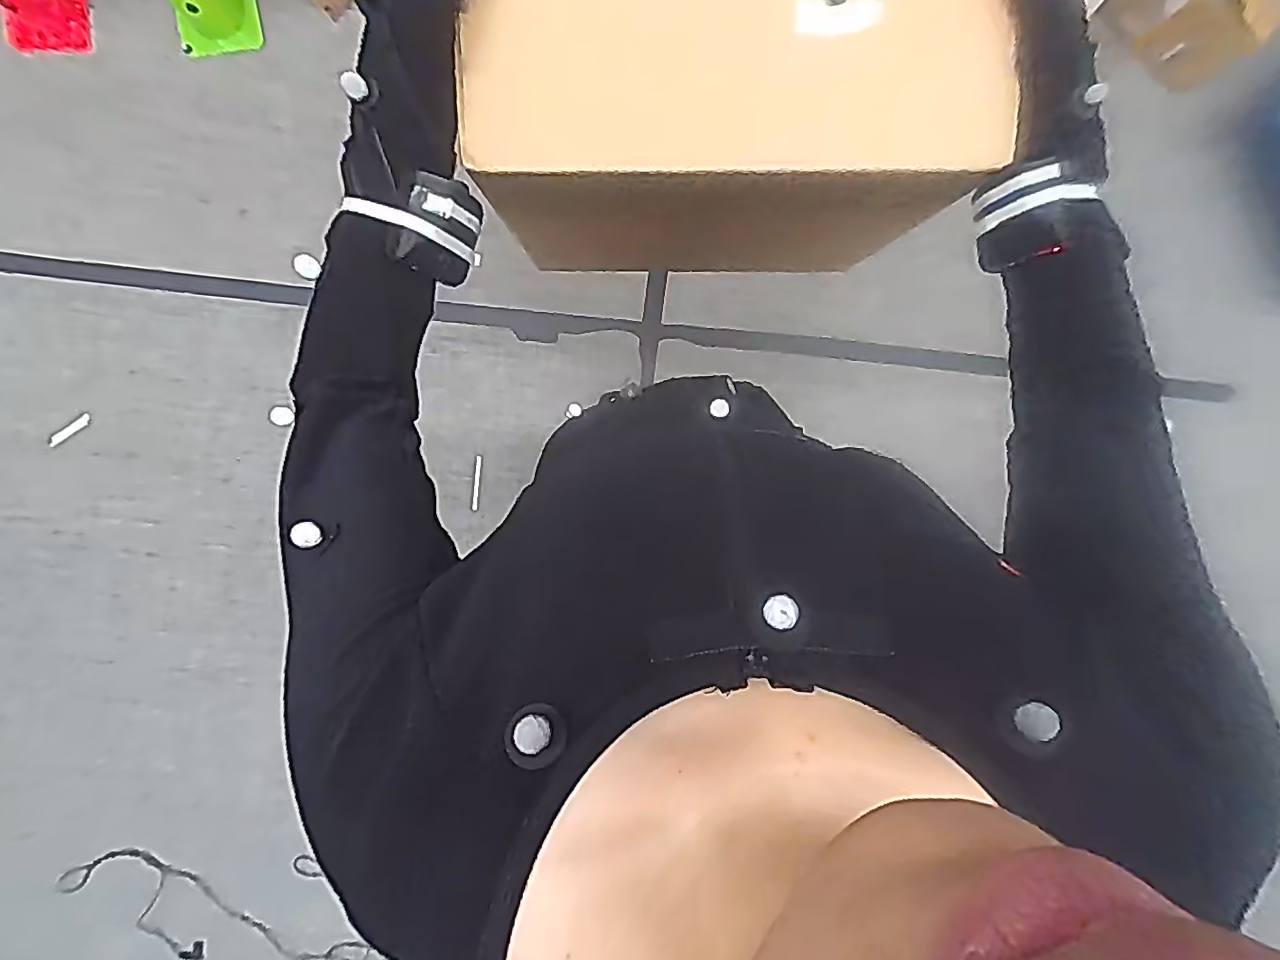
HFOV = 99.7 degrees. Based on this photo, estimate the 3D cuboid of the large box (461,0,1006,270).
[{"bbox_3d":[0.064,-0.408,0.534,0.408,0.320,0.320,0,98,-1],"label":"large box"}]
